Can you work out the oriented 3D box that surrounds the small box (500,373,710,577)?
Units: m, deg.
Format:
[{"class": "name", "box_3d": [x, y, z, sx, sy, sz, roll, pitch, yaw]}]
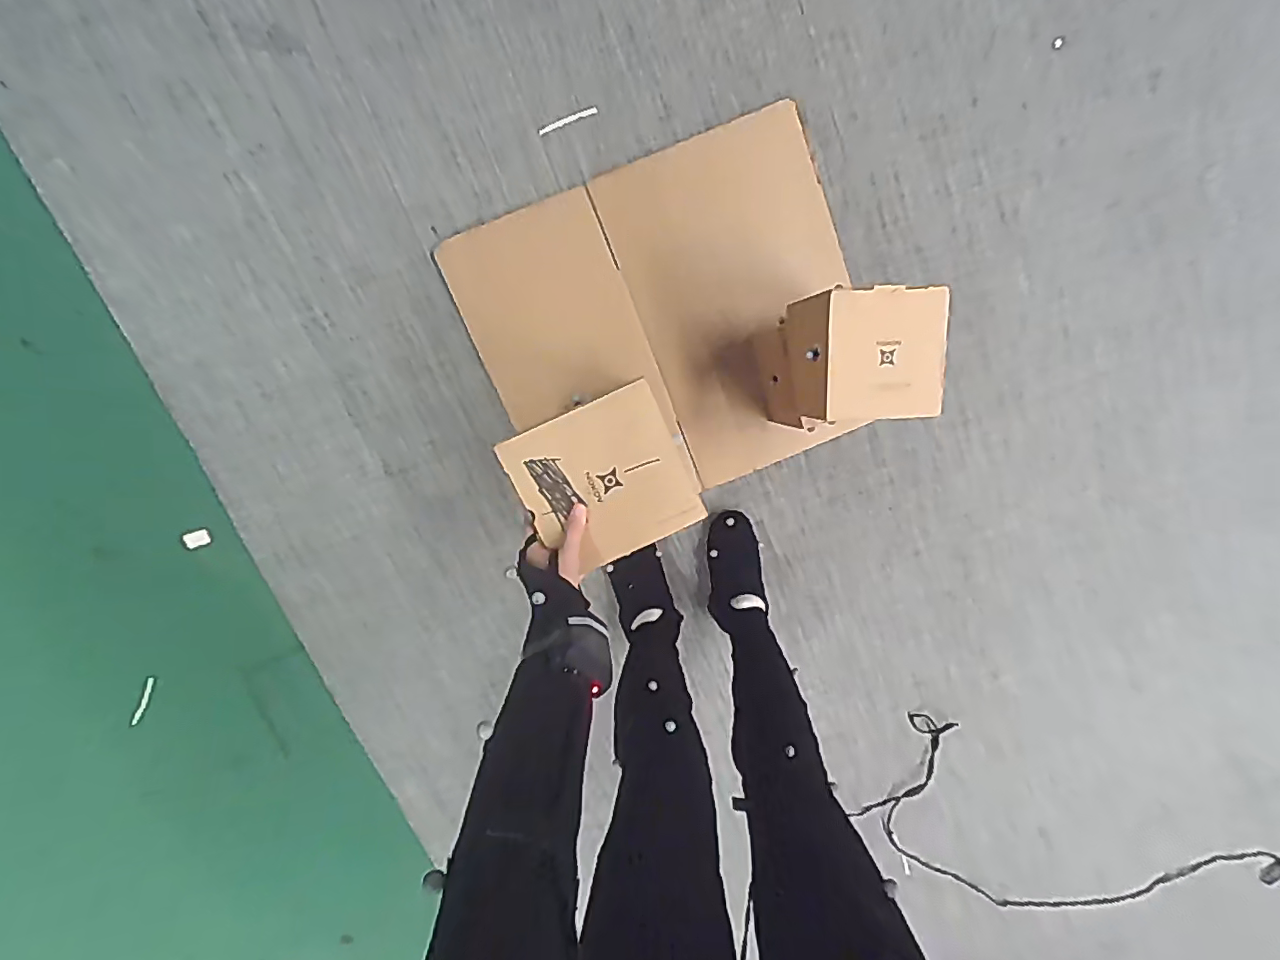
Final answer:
[{"class": "small box", "box_3d": [-0.038, -0.014, 0.640, 0.179, 0.176, 0.168, -24, 101, 0]}]

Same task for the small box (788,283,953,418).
[{"class": "small box", "box_3d": [0.327, -0.185, 0.798, 0.168, 0.176, 0.179, -2, 101, -5]}]
